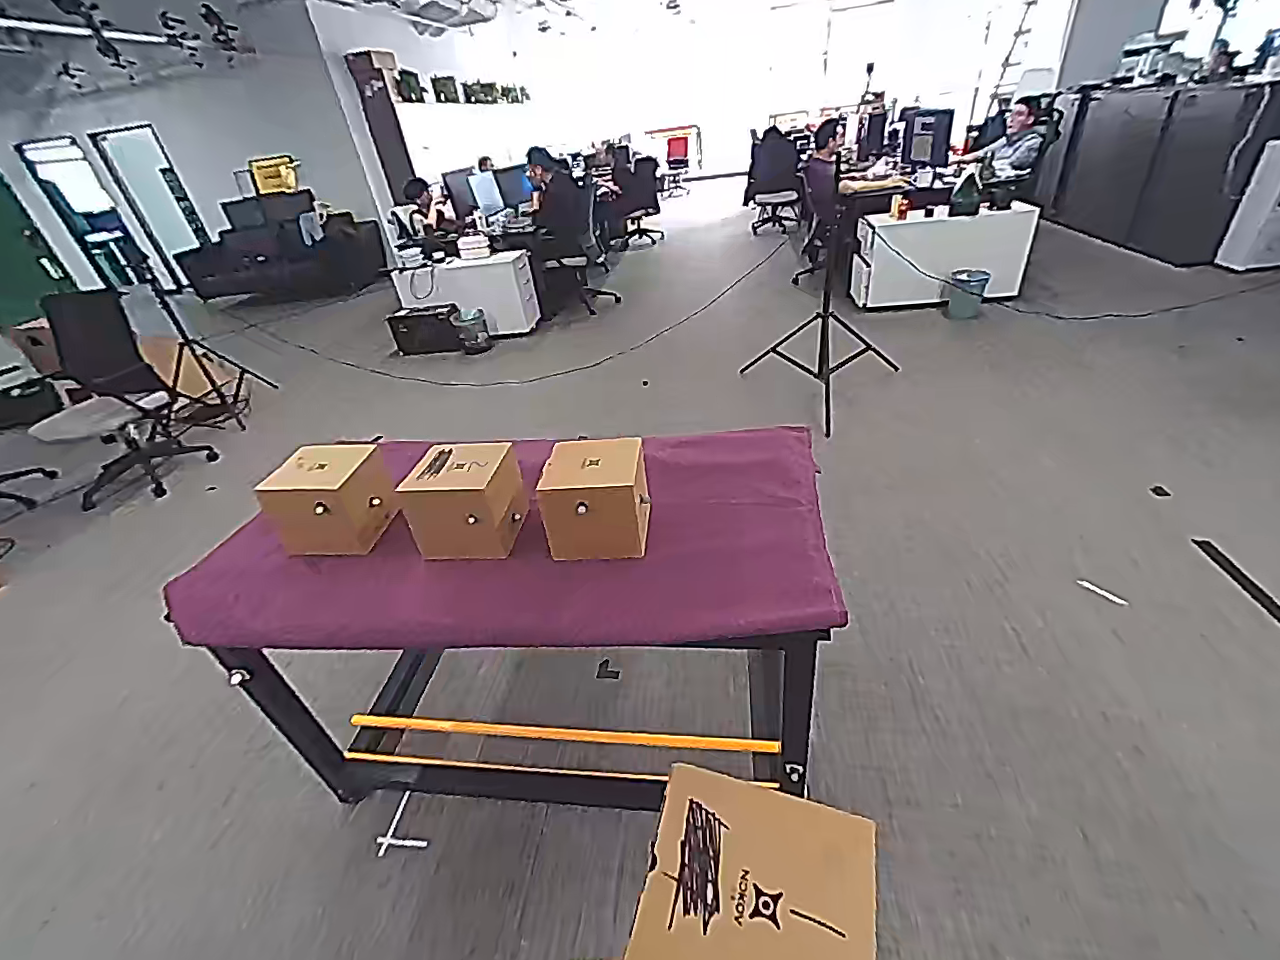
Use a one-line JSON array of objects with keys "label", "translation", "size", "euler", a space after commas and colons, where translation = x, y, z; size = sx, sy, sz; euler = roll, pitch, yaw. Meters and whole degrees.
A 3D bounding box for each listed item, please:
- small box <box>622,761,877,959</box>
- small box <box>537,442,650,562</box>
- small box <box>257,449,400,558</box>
[{"label": "small box", "translation": [0.096, 0.383, 0.469], "size": [0.179, 0.176, 0.168], "euler": [9, 42, 16]}, {"label": "small box", "translation": [-0.078, 0.043, 1.038], "size": [0.179, 0.176, 0.168], "euler": [-3, 34, 8]}, {"label": "small box", "translation": [-0.639, 0.050, 1.137], "size": [0.179, 0.176, 0.168], "euler": [-1, 33, 6]}]
